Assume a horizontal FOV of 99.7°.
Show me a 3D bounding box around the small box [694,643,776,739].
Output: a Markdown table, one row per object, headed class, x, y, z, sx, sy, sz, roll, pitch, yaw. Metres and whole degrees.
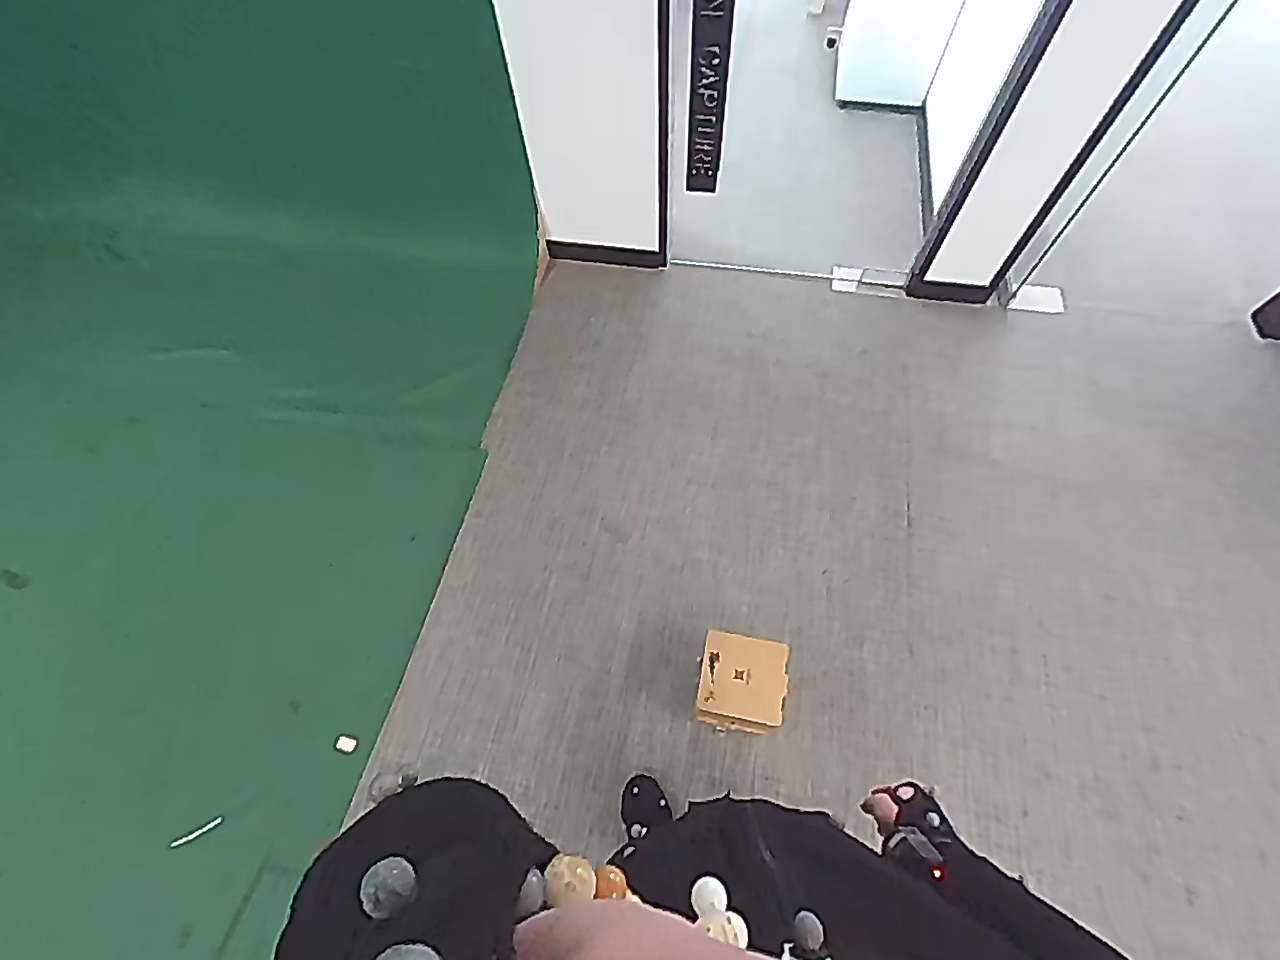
| class | x | y | z | sx | sy | sz | roll | pitch | yaw |
| --- | --- | --- | --- | --- | --- | --- | --- | --- | --- |
| small box | 0.229 | 0.521 | 1.328 | 0.168 | 0.176 | 0.179 | 11 | 63 | 10 |
